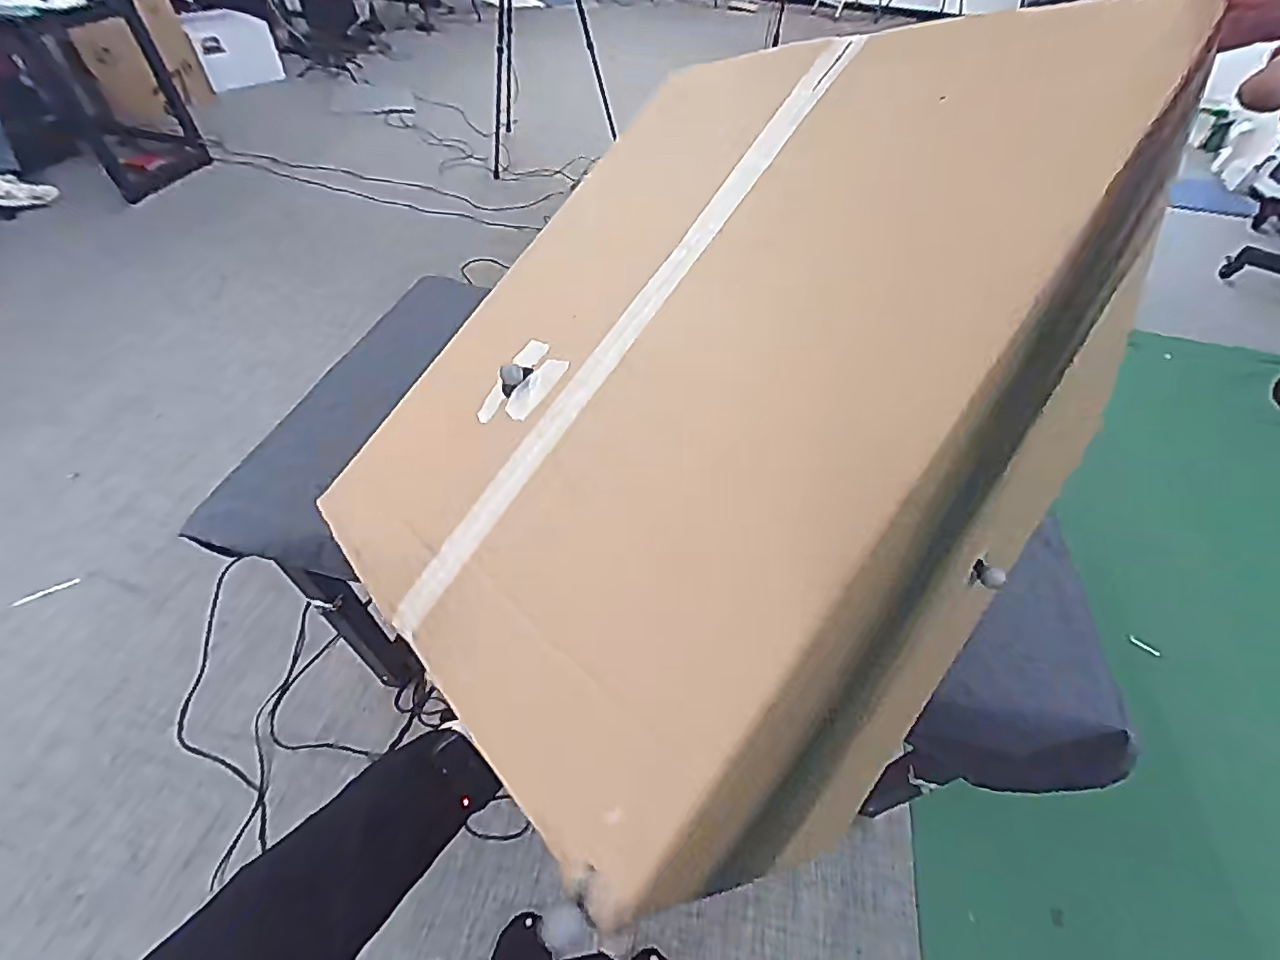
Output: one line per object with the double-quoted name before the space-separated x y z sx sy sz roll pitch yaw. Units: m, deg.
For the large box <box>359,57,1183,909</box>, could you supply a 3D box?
"large box" 0.090 -0.012 0.413 0.320 0.320 0.408 29 82 40
